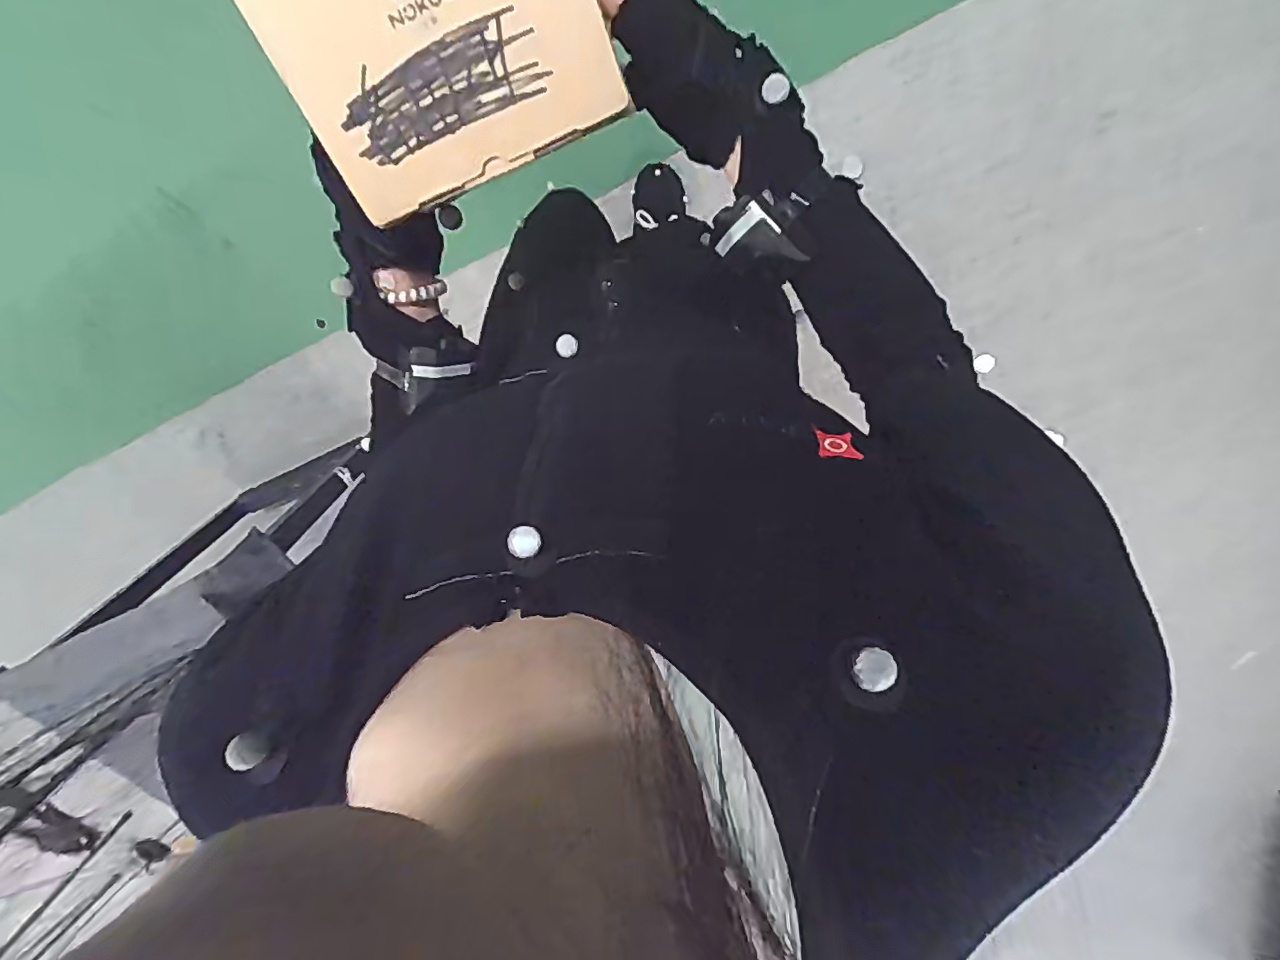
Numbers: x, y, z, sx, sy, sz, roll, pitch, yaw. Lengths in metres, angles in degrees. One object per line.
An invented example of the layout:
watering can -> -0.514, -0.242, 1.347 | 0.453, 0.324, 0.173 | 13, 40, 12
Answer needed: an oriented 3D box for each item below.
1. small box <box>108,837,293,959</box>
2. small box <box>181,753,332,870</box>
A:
small box -> -0.811, 0.812, 1.021 | 0.179, 0.176, 0.168 | -24, 118, 15
small box -> -0.797, 0.712, 1.152 | 0.179, 0.176, 0.168 | -21, 118, 16
